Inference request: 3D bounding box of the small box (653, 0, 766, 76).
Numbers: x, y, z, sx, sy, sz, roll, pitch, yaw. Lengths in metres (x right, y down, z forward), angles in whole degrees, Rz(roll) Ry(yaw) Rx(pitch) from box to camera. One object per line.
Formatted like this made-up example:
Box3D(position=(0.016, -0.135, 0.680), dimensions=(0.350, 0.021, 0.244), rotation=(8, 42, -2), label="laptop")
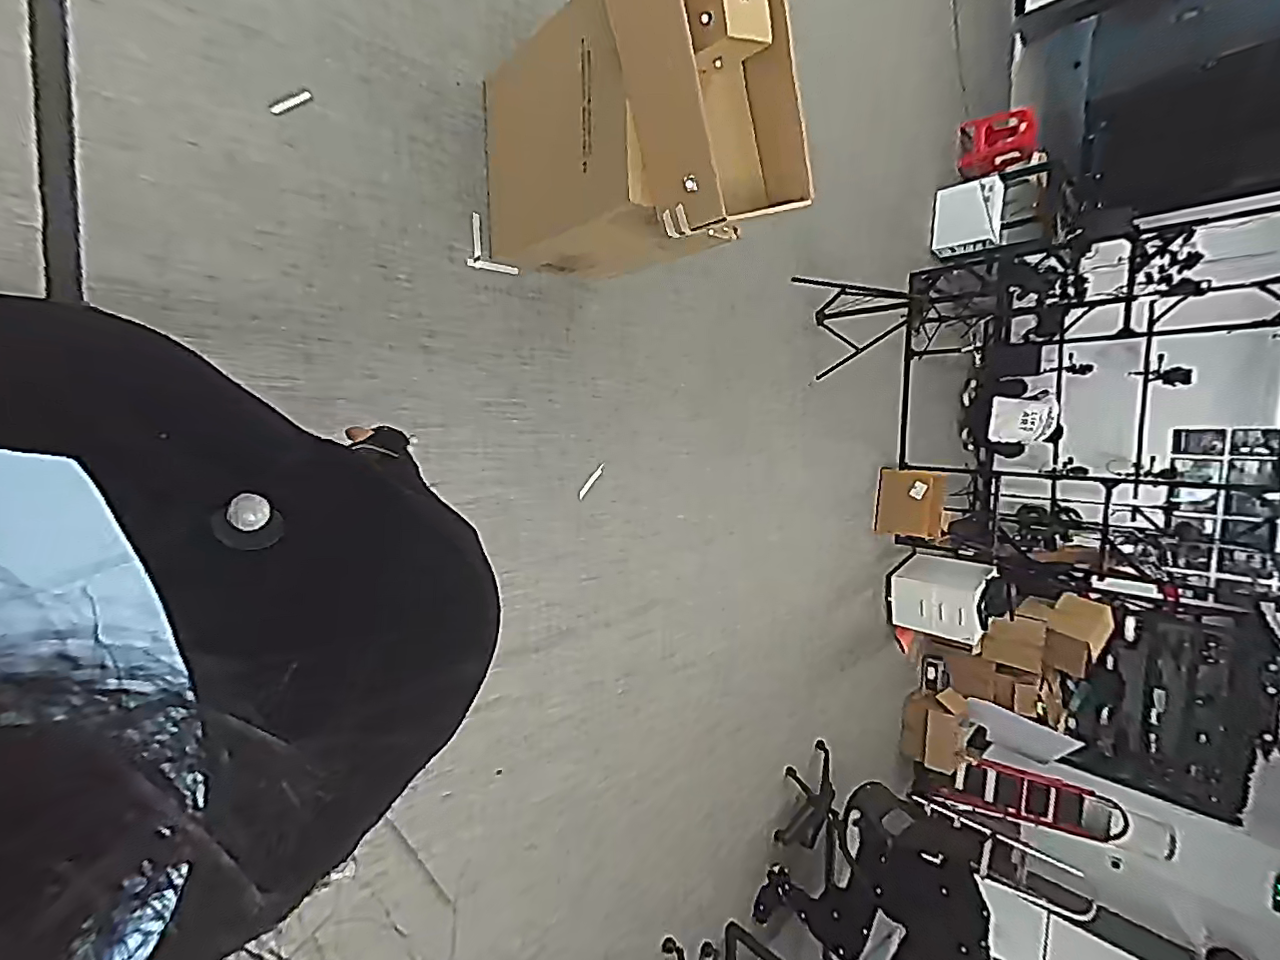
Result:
Box3D(position=(0.146, -1.007, 1.165), dimensions=(0.168, 0.176, 0.179), rotation=(-30, 114, -38), label="small box")
